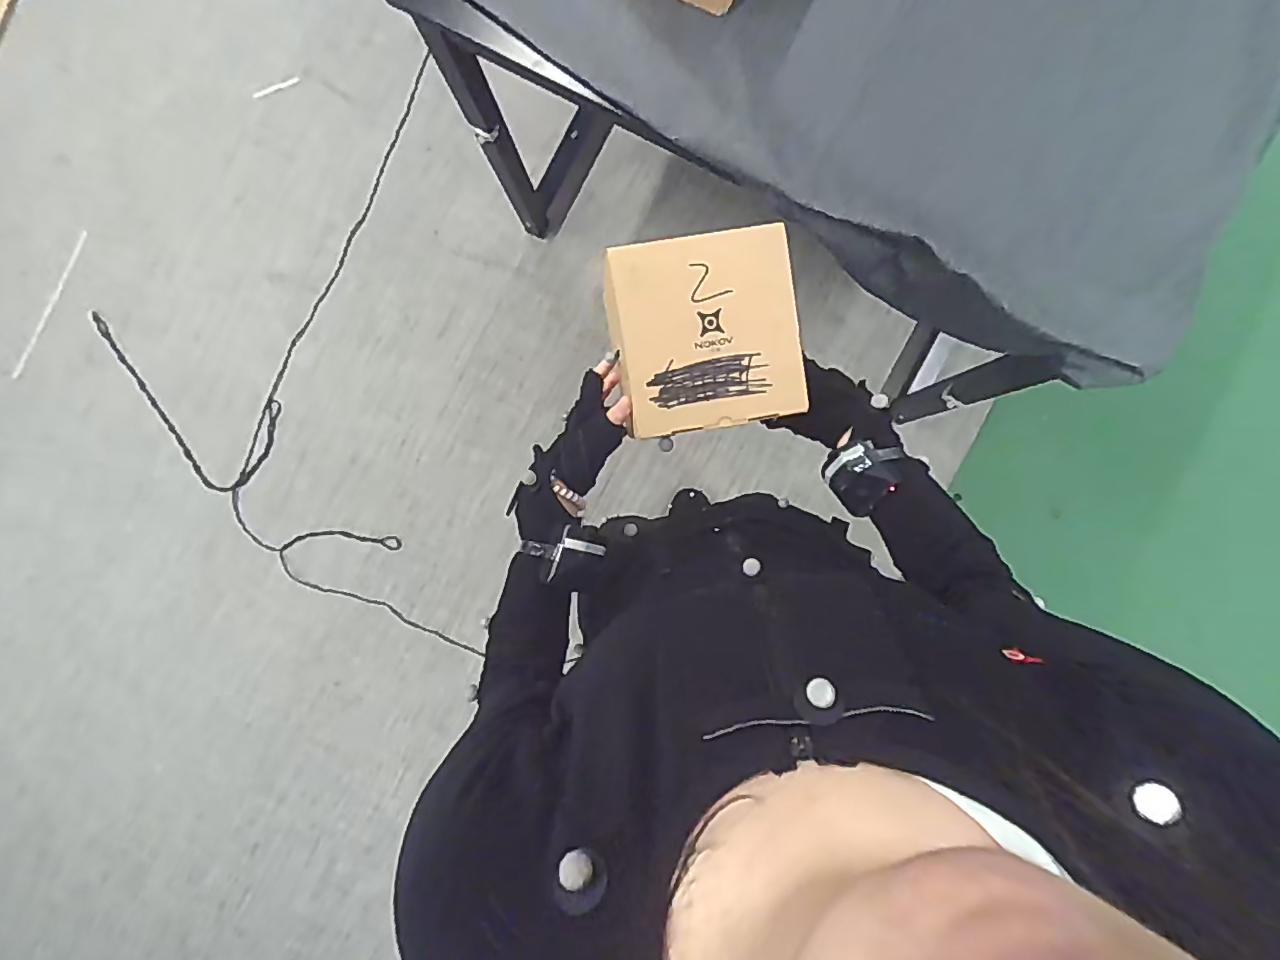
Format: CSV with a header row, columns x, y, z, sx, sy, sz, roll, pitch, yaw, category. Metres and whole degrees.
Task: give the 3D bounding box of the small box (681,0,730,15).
x,y,z,sx,sy,sz,roll,pitch,yaw,category
0.082,-0.783,0.707,0.168,0.176,0.179,26,90,2,small box
